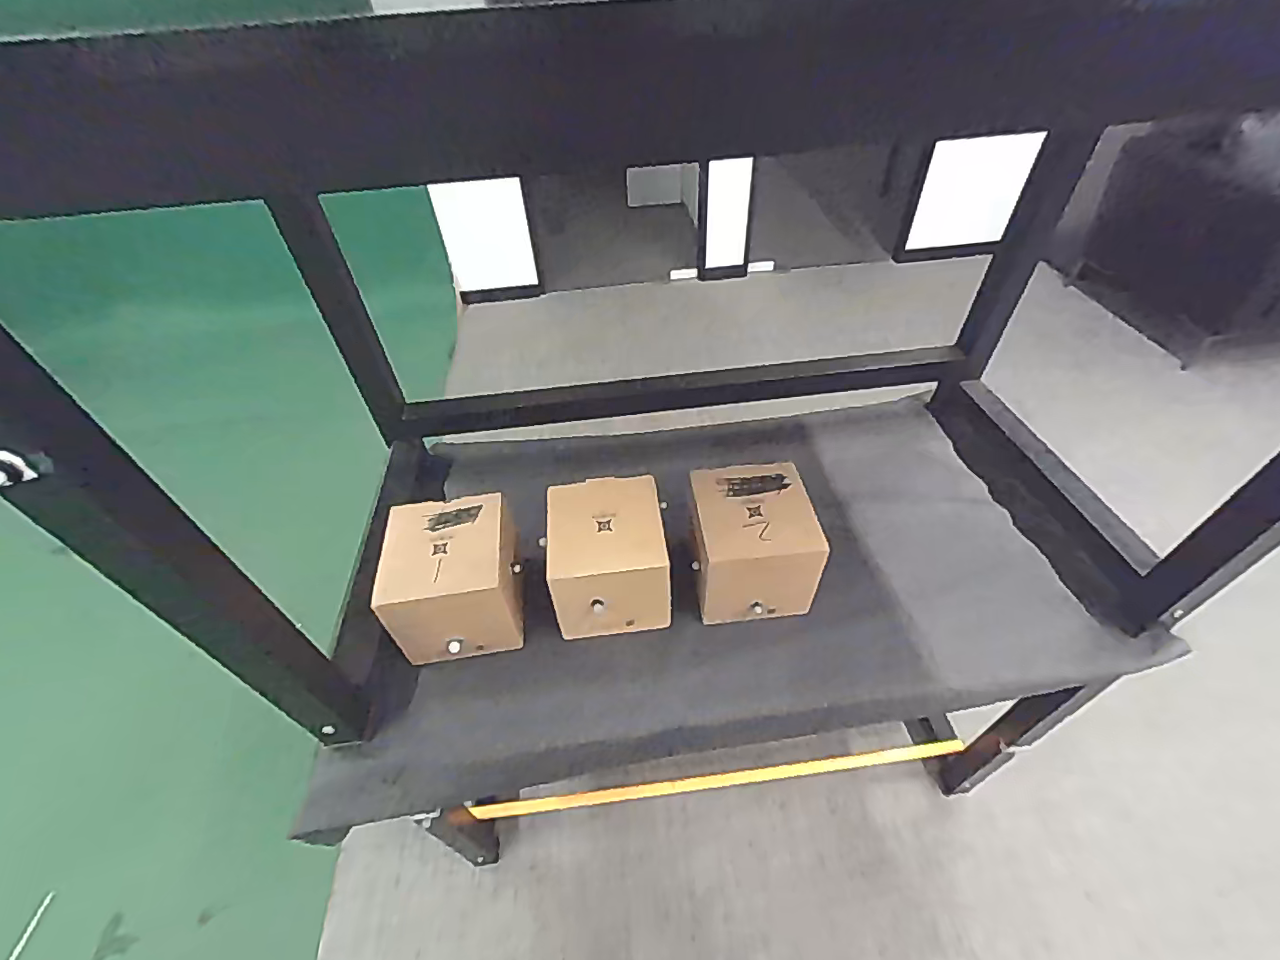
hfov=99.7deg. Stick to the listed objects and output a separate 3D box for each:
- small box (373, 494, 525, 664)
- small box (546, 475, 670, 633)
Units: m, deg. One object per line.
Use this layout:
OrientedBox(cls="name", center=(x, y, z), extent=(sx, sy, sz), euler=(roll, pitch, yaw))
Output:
OrientedBox(cls="small box", center=(-0.271, 0.148, 0.811), extent=(0.168, 0.176, 0.179), euler=(-8, 45, -4))
OrientedBox(cls="small box", center=(-0.047, 0.119, 0.828), extent=(0.168, 0.176, 0.179), euler=(-7, 44, -3))
